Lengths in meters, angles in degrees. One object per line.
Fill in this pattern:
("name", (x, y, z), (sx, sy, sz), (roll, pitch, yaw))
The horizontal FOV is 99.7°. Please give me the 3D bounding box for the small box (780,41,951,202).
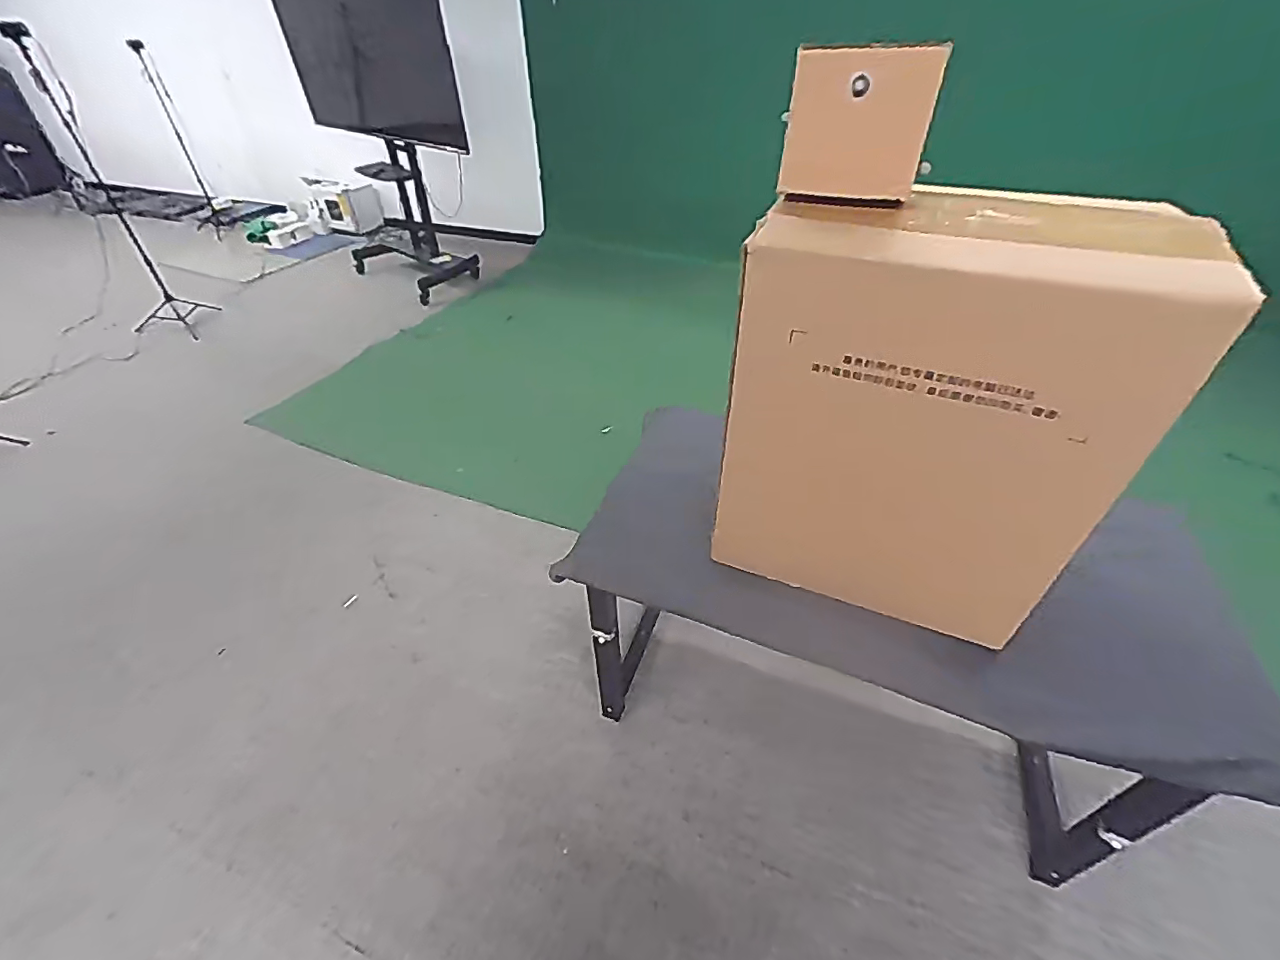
("small box", (0.305, -0.495, 0.757), (0.179, 0.176, 0.168), (15, 37, 15))
